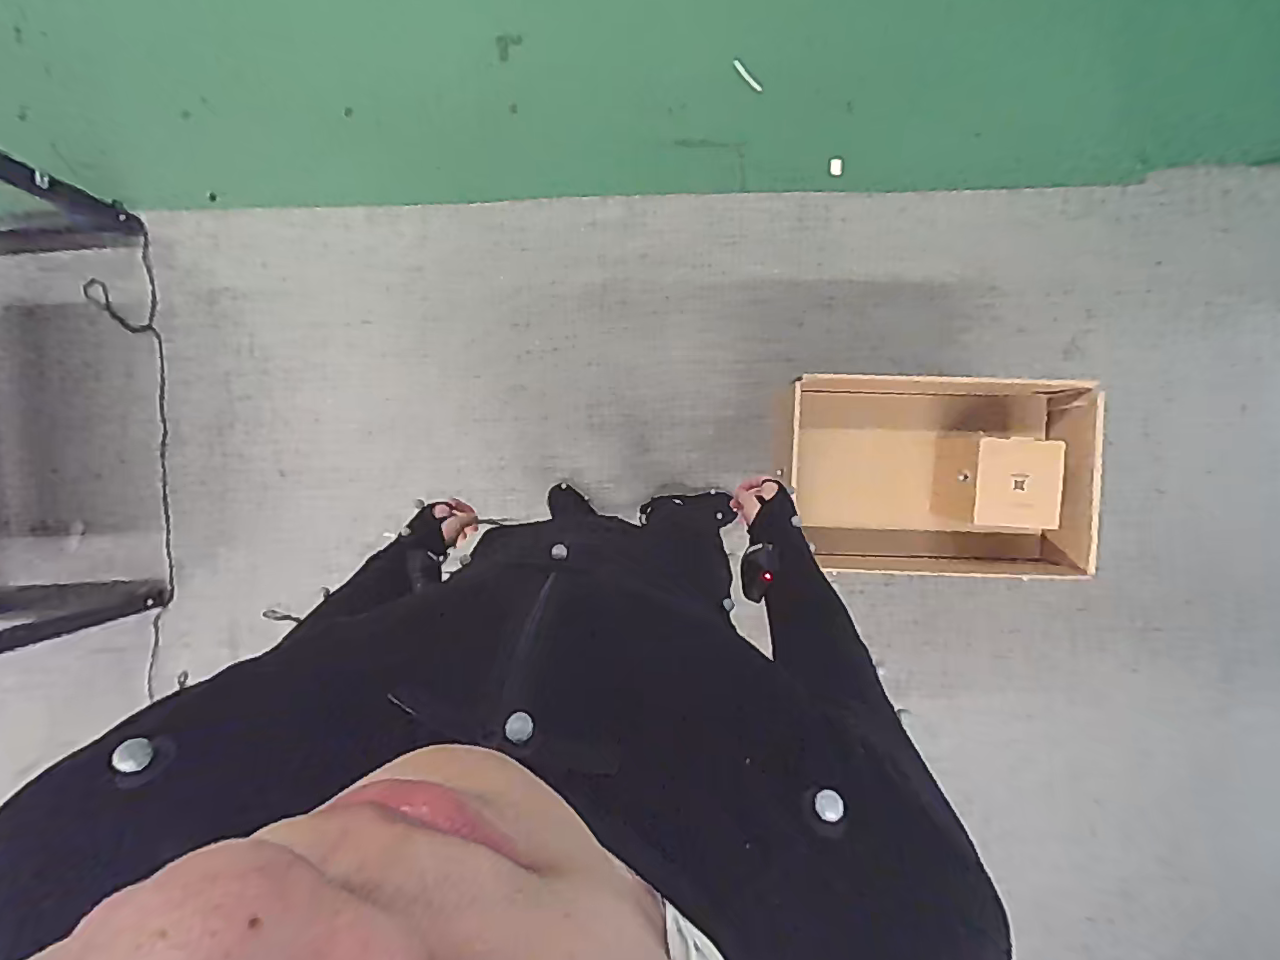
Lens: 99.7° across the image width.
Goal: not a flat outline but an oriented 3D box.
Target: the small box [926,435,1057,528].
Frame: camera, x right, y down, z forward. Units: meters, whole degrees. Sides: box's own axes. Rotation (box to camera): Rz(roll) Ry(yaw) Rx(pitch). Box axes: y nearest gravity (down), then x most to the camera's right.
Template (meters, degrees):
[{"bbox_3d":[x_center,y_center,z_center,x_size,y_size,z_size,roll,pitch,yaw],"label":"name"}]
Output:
[{"bbox_3d":[0.733,0.000,1.144,0.168,0.176,0.179,4,93,0],"label":"small box"}]
